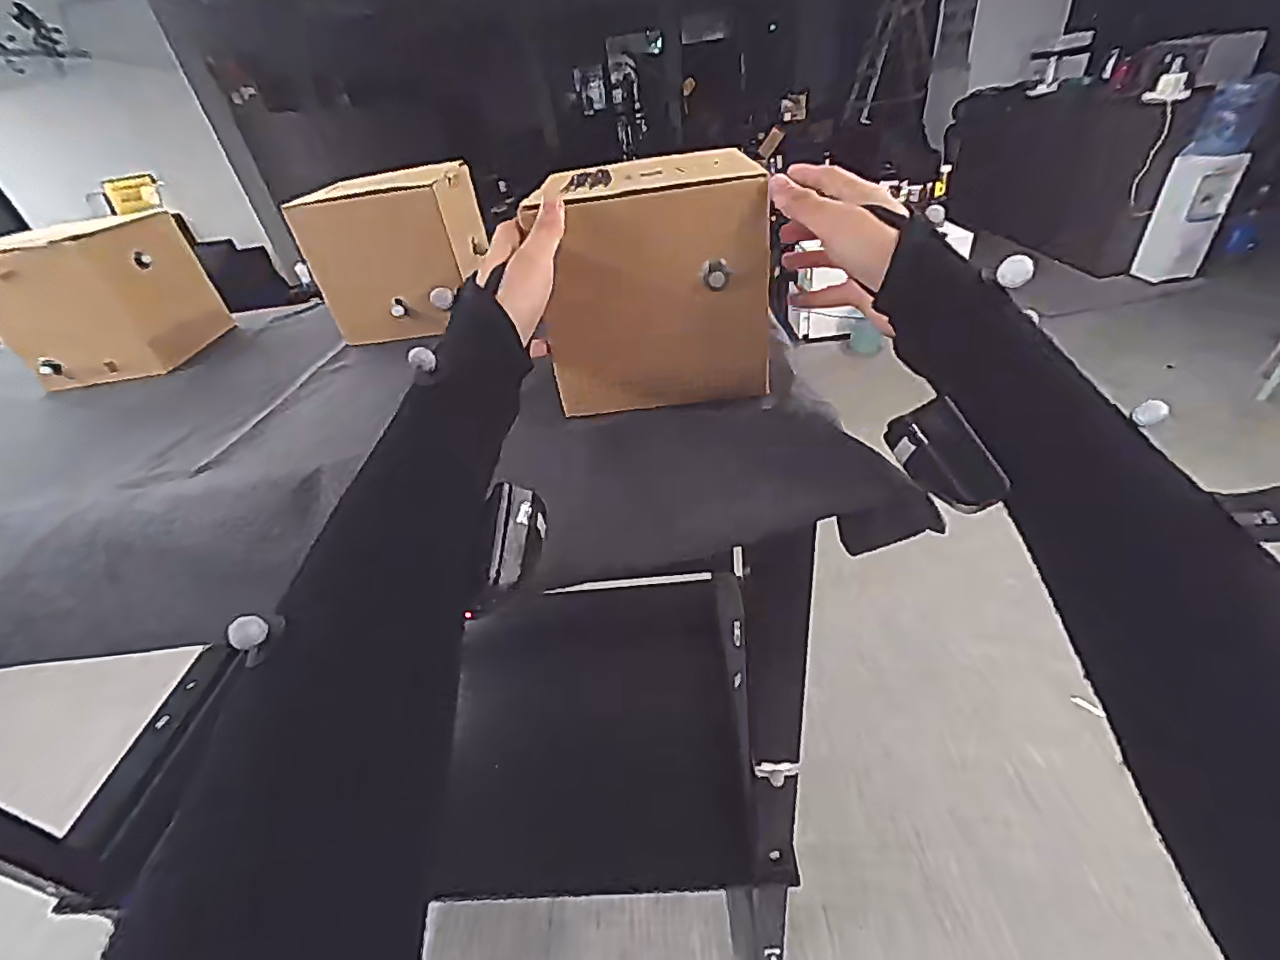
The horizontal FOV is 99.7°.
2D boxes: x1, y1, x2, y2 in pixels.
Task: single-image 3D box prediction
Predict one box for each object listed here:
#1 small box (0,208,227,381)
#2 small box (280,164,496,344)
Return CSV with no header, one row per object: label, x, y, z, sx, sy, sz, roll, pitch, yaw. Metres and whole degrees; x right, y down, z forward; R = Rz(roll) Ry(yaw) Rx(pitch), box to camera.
small box,-0.705,-0.240,0.715,0.168,0.176,0.179,-8,36,1
small box,-0.301,-0.291,0.697,0.179,0.176,0.168,-6,37,3
